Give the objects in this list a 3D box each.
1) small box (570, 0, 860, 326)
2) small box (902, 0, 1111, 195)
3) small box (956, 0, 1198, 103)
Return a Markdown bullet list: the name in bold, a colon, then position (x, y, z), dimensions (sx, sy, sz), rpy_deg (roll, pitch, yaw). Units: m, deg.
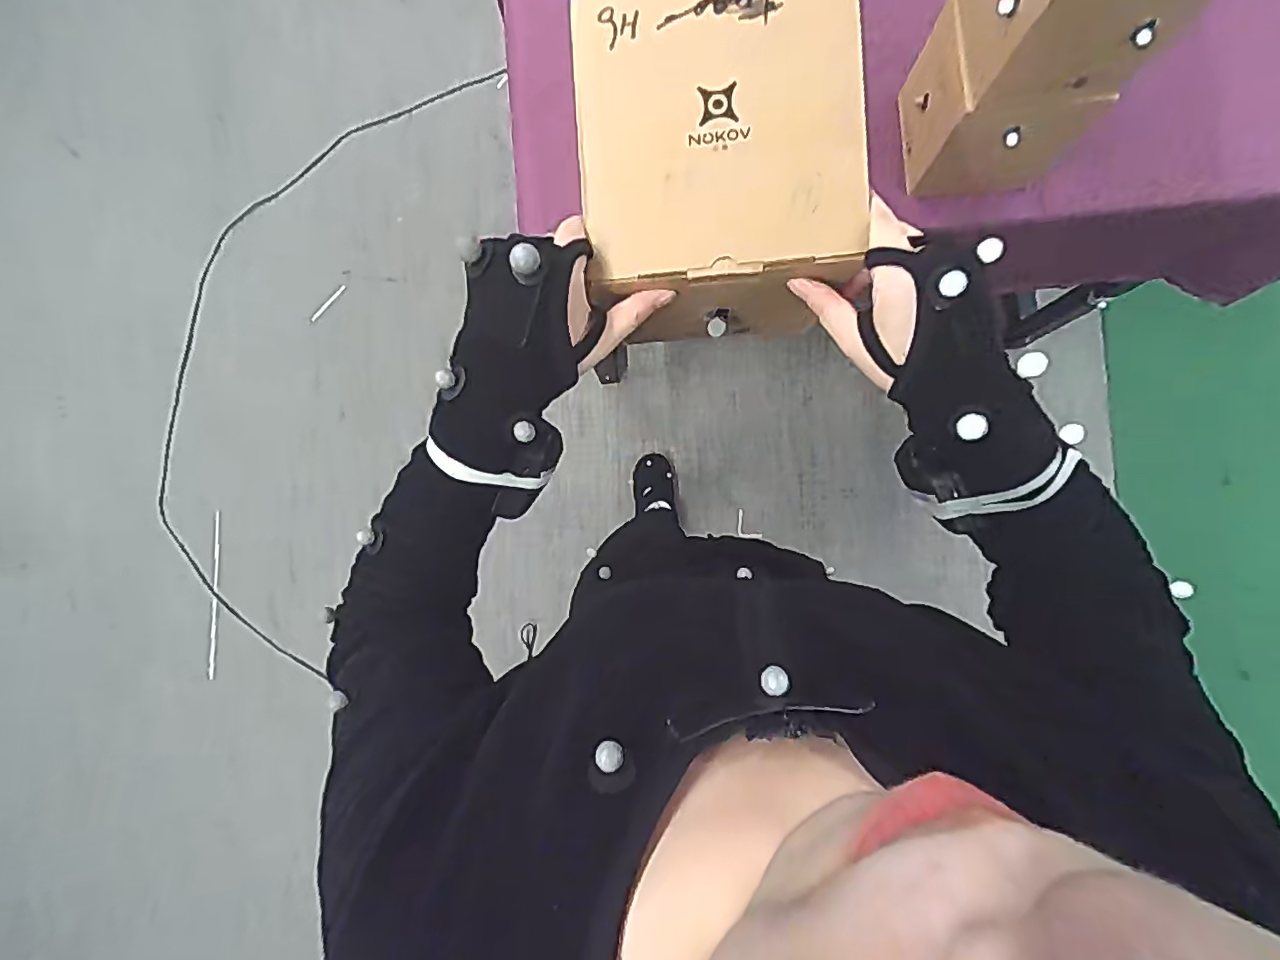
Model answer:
- **small box**: position (0.052, -0.216, 0.394), dimensions (0.168, 0.176, 0.179), rpy_deg (-3, 93, 6)
- **small box**: position (0.471, -0.510, 0.727), dimensions (0.179, 0.176, 0.168), rpy_deg (-2, 85, 3)
- **small box**: position (0.462, -0.532, 0.565), dimensions (0.168, 0.176, 0.179), rpy_deg (-4, 84, 2)
